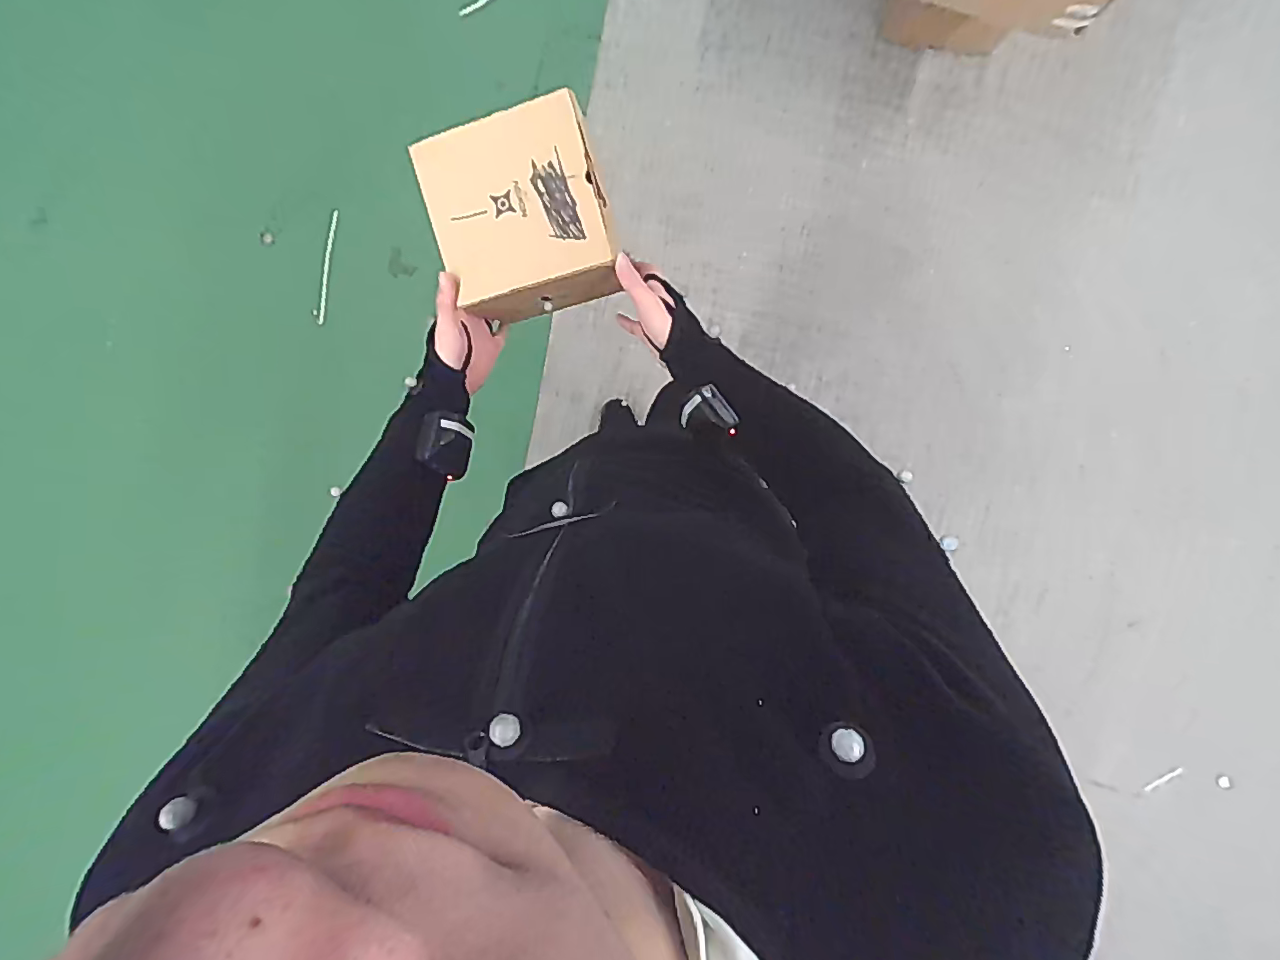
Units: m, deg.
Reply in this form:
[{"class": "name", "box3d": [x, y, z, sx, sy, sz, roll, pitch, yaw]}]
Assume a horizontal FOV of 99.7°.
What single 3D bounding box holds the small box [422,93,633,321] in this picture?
[{"class": "small box", "box3d": [-0.110, -0.291, 0.619, 0.179, 0.176, 0.168, -13, 98, 8]}]
